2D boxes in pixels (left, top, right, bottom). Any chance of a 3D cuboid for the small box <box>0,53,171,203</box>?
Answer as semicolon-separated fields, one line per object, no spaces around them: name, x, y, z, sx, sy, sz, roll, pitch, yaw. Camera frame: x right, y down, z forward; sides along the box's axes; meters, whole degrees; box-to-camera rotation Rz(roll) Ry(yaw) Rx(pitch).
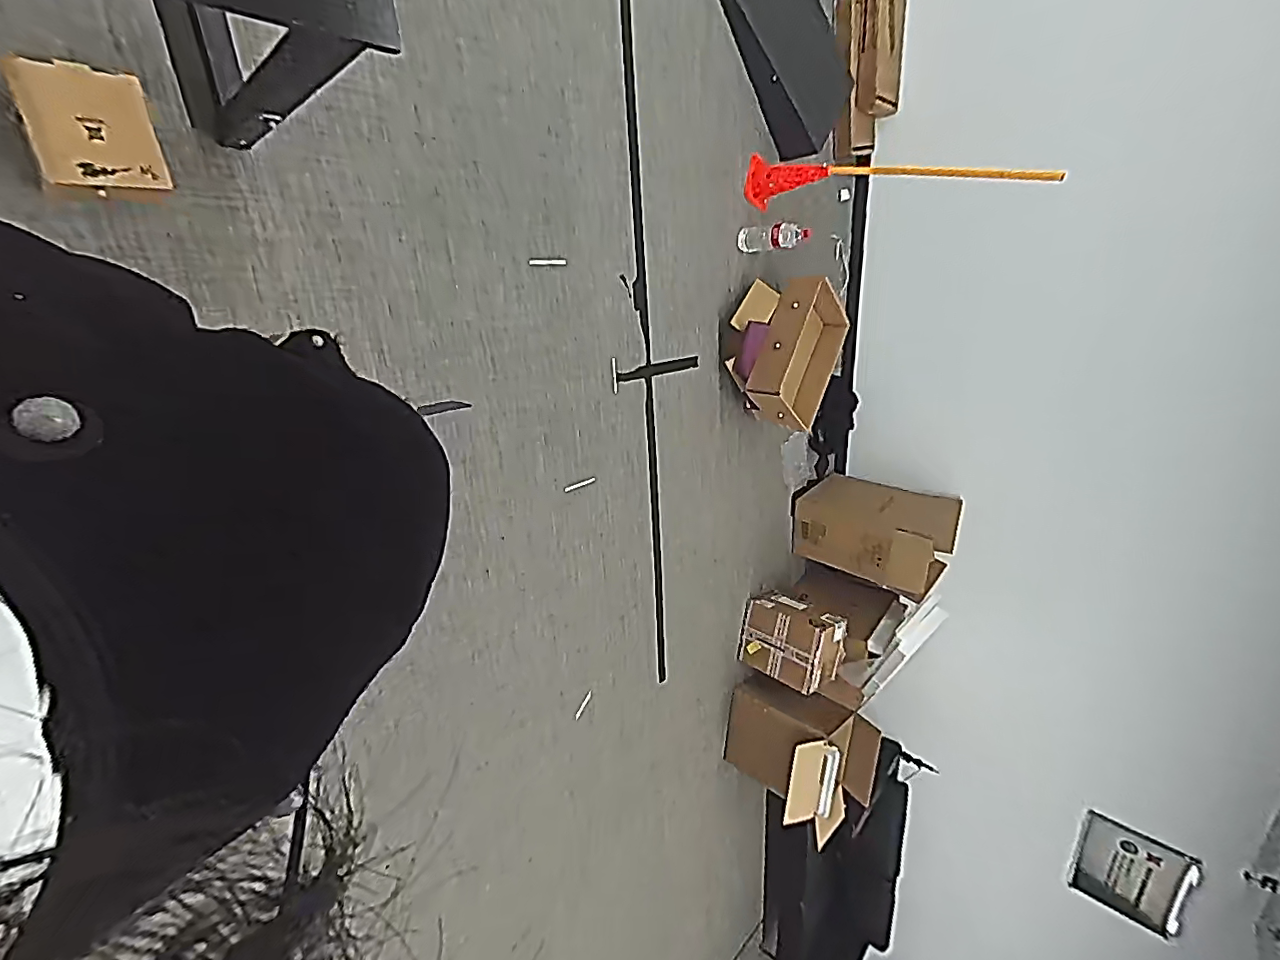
small box;-0.969;-0.601;0.950;0.168;0.176;0.179;-23;117;-41
